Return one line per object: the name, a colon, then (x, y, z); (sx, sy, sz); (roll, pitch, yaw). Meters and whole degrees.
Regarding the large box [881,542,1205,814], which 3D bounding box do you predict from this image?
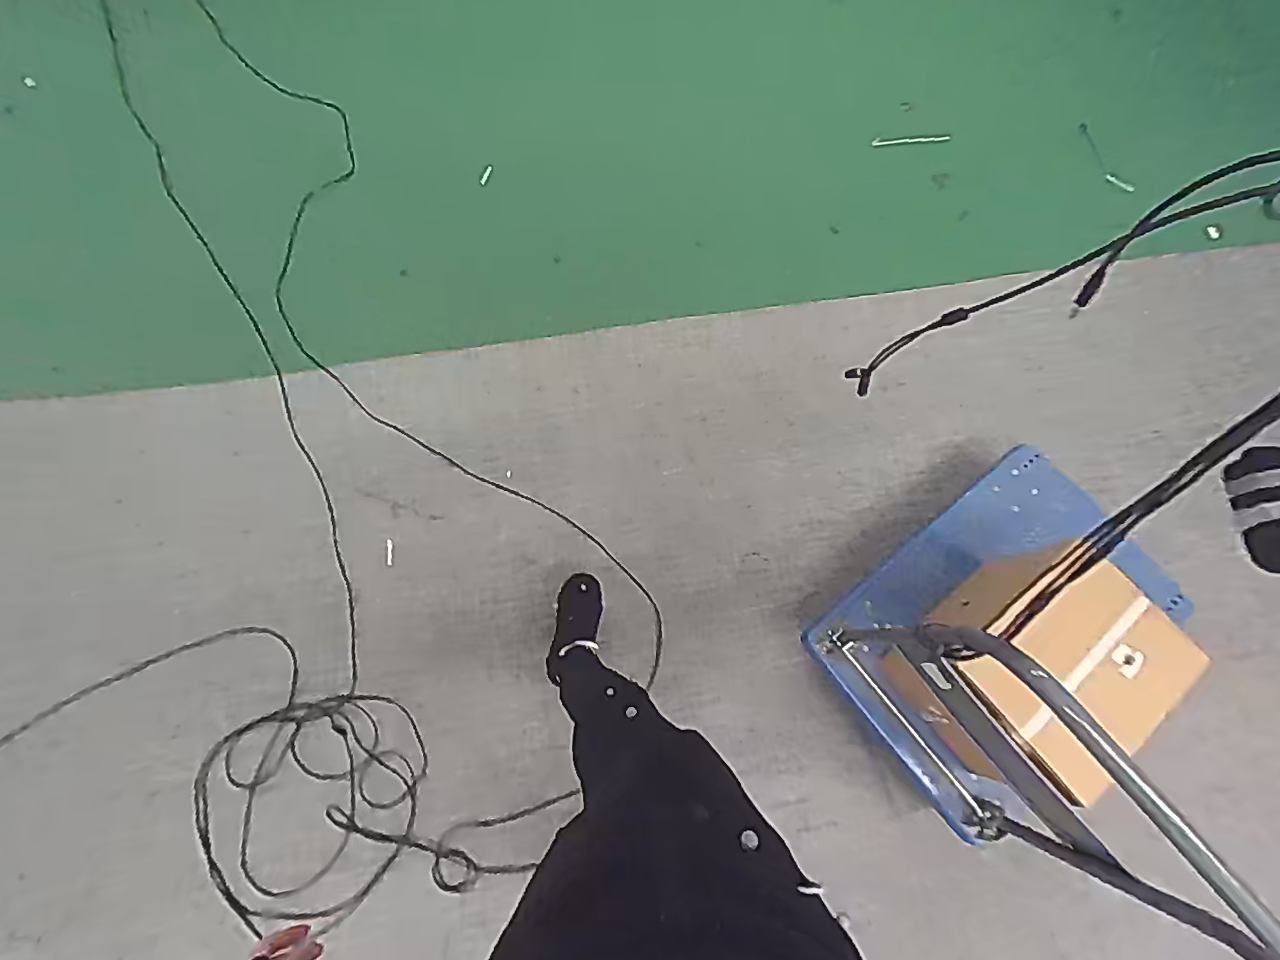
large box: (0.813, 0.401, 1.146); (0.408, 0.320, 0.320); (-35, 77, -14)
